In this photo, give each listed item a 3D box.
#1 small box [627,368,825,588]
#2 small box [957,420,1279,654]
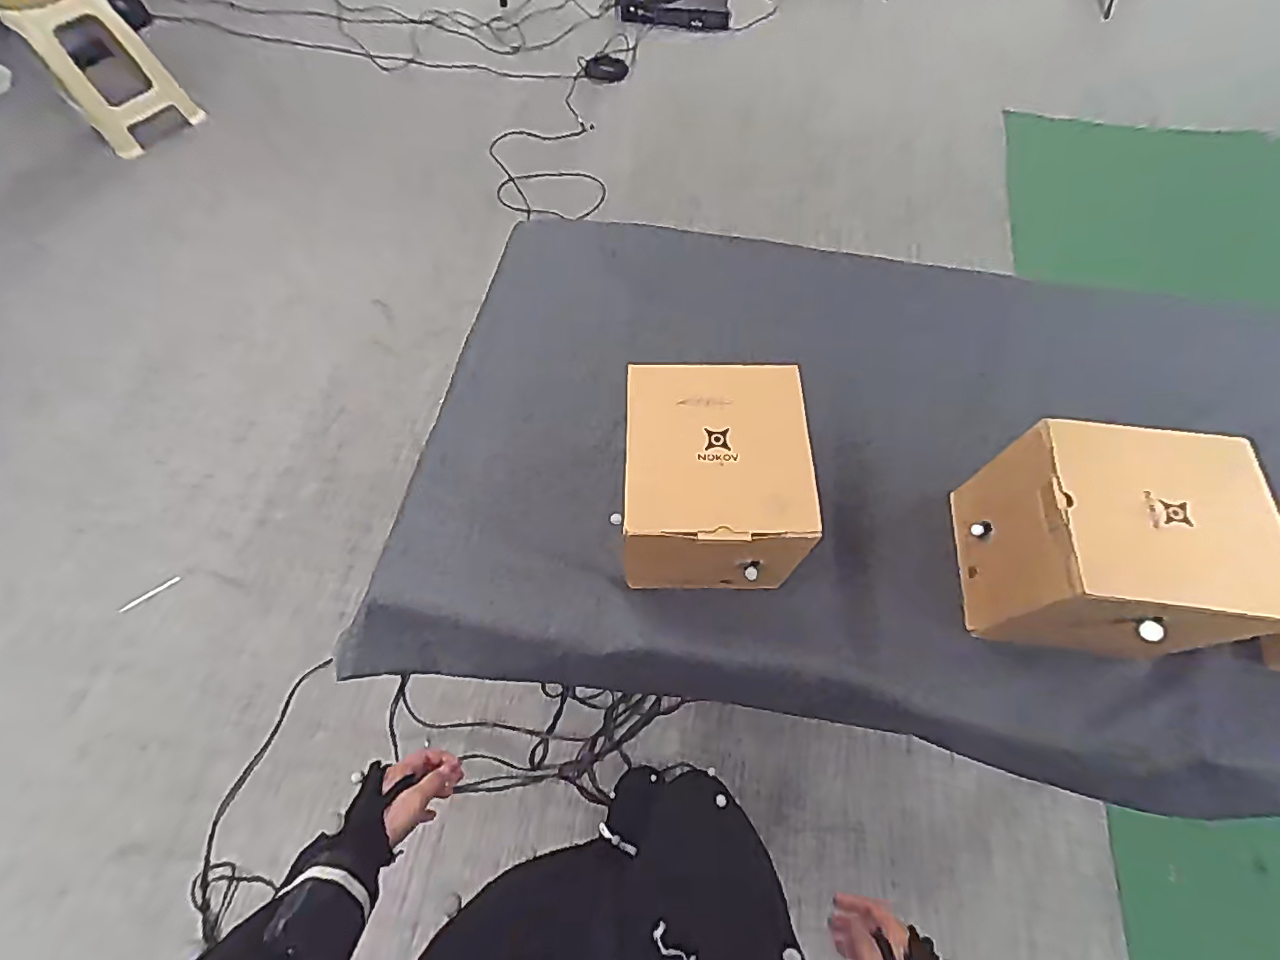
[{"bbox_3d":[0.072,0.007,0.550,0.168,0.176,0.179,0,62,-1],"label":"small box"},{"bbox_3d":[0.441,0.063,0.517,0.179,0.176,0.168,6,64,5],"label":"small box"}]
